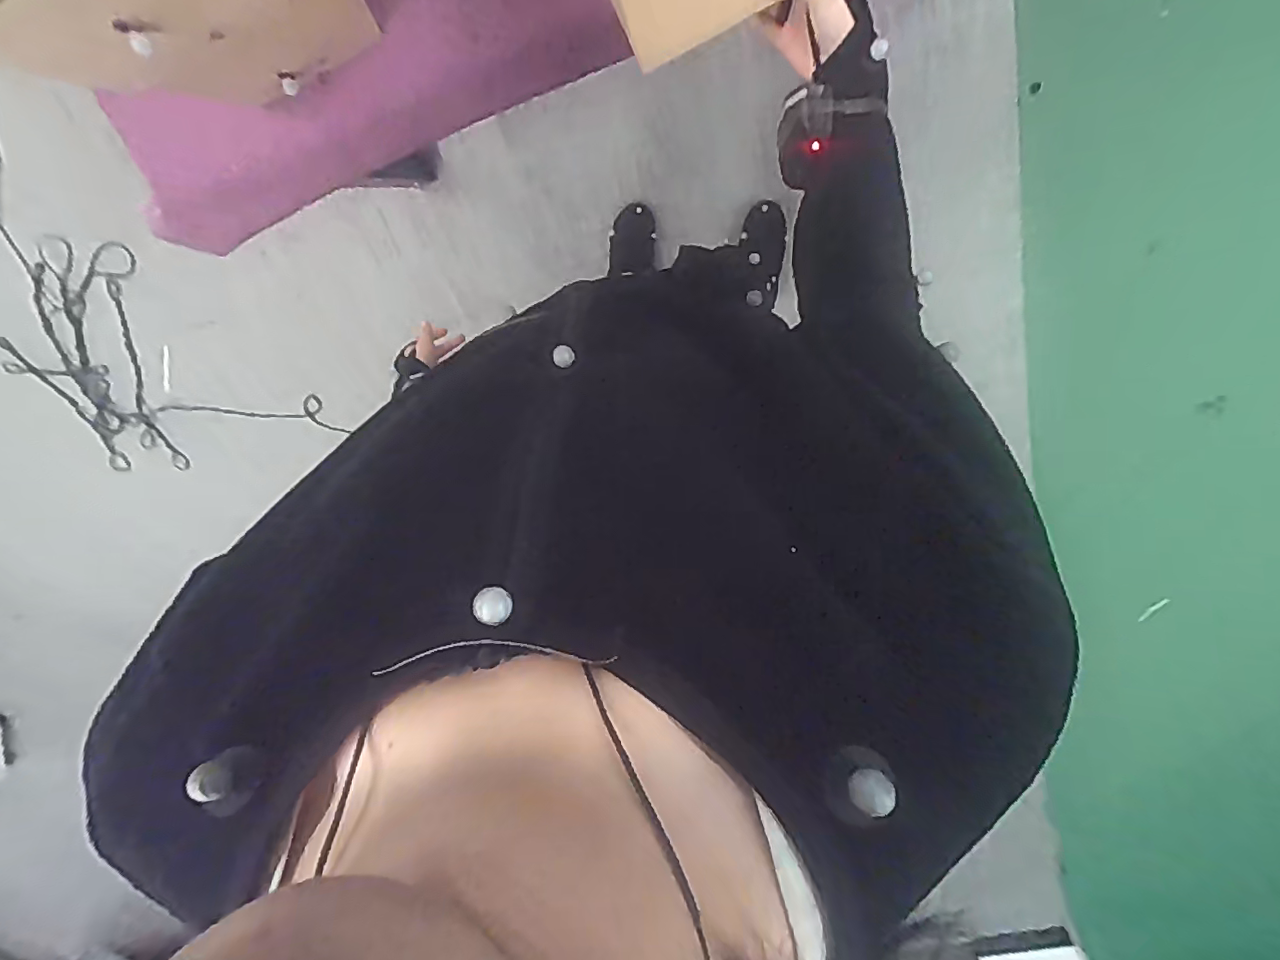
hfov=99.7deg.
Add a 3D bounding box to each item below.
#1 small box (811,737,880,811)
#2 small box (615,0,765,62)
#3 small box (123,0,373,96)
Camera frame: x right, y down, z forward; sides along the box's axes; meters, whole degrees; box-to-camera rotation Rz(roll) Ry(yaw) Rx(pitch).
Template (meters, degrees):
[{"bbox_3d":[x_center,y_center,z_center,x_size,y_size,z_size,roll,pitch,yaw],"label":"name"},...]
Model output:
[{"bbox_3d":[0.783,1.121,2.071,0.179,0.176,0.168,-30,113,18],"label":"small box"},{"bbox_3d":[0.030,-0.481,0.401,0.168,0.176,0.179,-20,159,12],"label":"small box"},{"bbox_3d":[-0.375,-0.469,0.463,0.168,0.176,0.179,-18,116,12],"label":"small box"}]
